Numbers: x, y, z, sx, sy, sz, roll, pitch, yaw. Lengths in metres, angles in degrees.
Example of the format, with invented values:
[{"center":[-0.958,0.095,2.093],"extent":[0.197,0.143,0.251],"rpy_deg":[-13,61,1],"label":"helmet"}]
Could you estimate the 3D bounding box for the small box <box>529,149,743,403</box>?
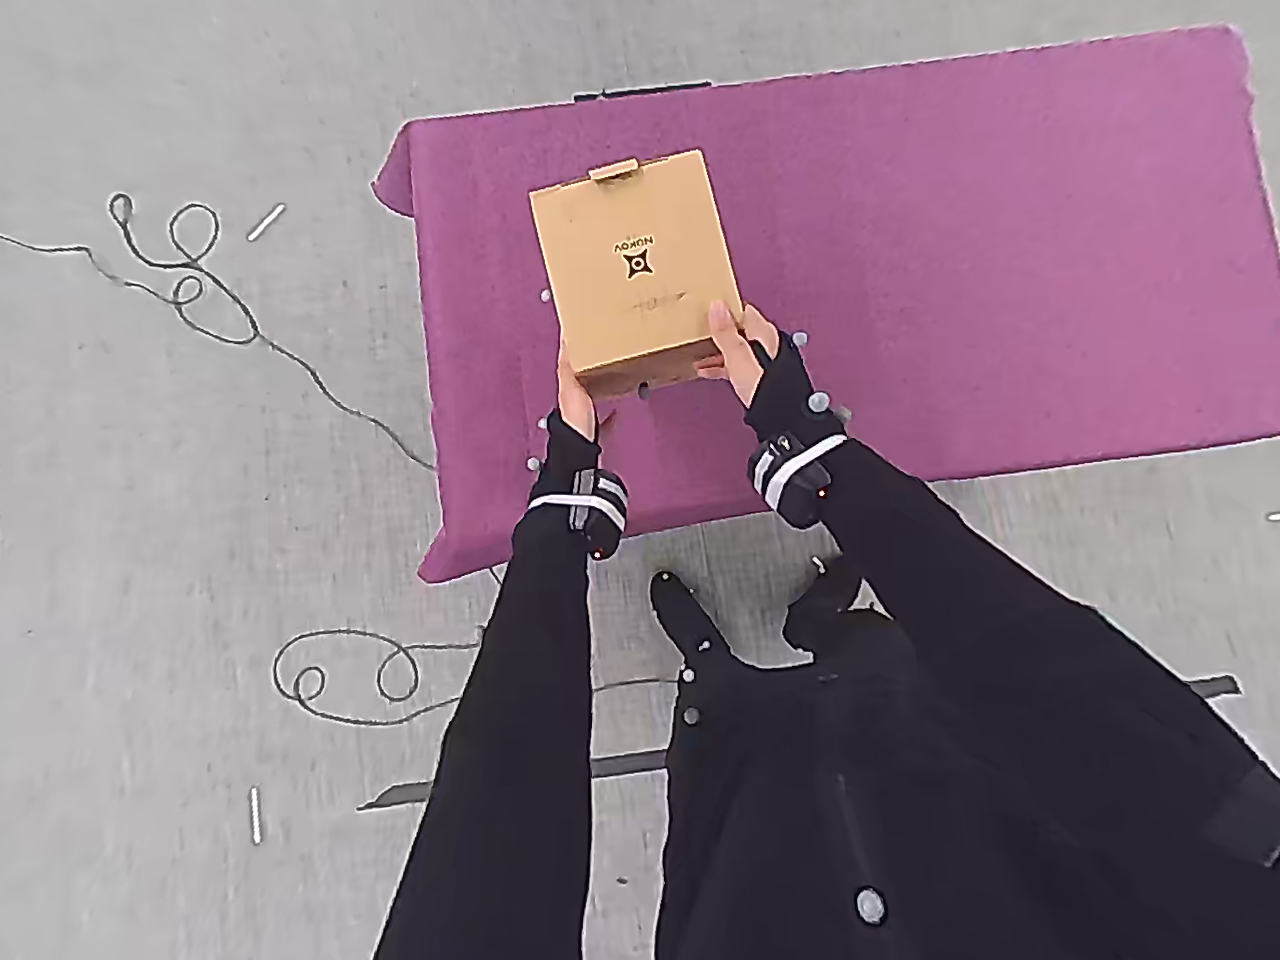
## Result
[{"center":[-0.004,-0.195,0.565],"extent":[0.168,0.176,0.179],"rpy_deg":[-13,87,1],"label":"small box"}]
